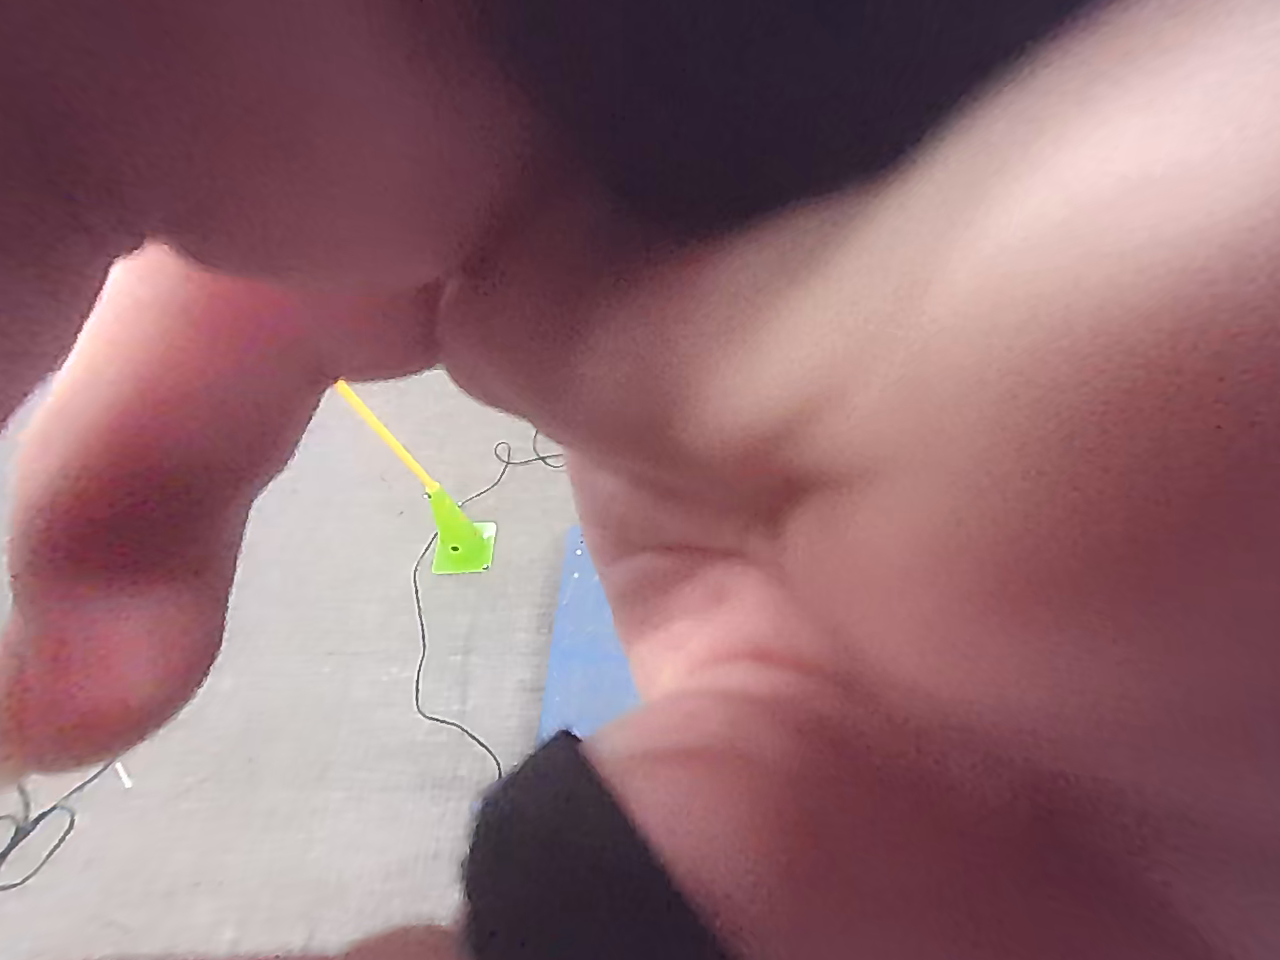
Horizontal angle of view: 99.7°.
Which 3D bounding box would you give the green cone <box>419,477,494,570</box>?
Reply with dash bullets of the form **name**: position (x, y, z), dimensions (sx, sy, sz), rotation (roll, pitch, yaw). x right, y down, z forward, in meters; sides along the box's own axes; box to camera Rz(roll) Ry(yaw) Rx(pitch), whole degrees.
- **green cone**: position (-0.621, 0.113, 1.741), dimensions (0.202, 0.368, 0.200), rotation (-4, 51, 0)
